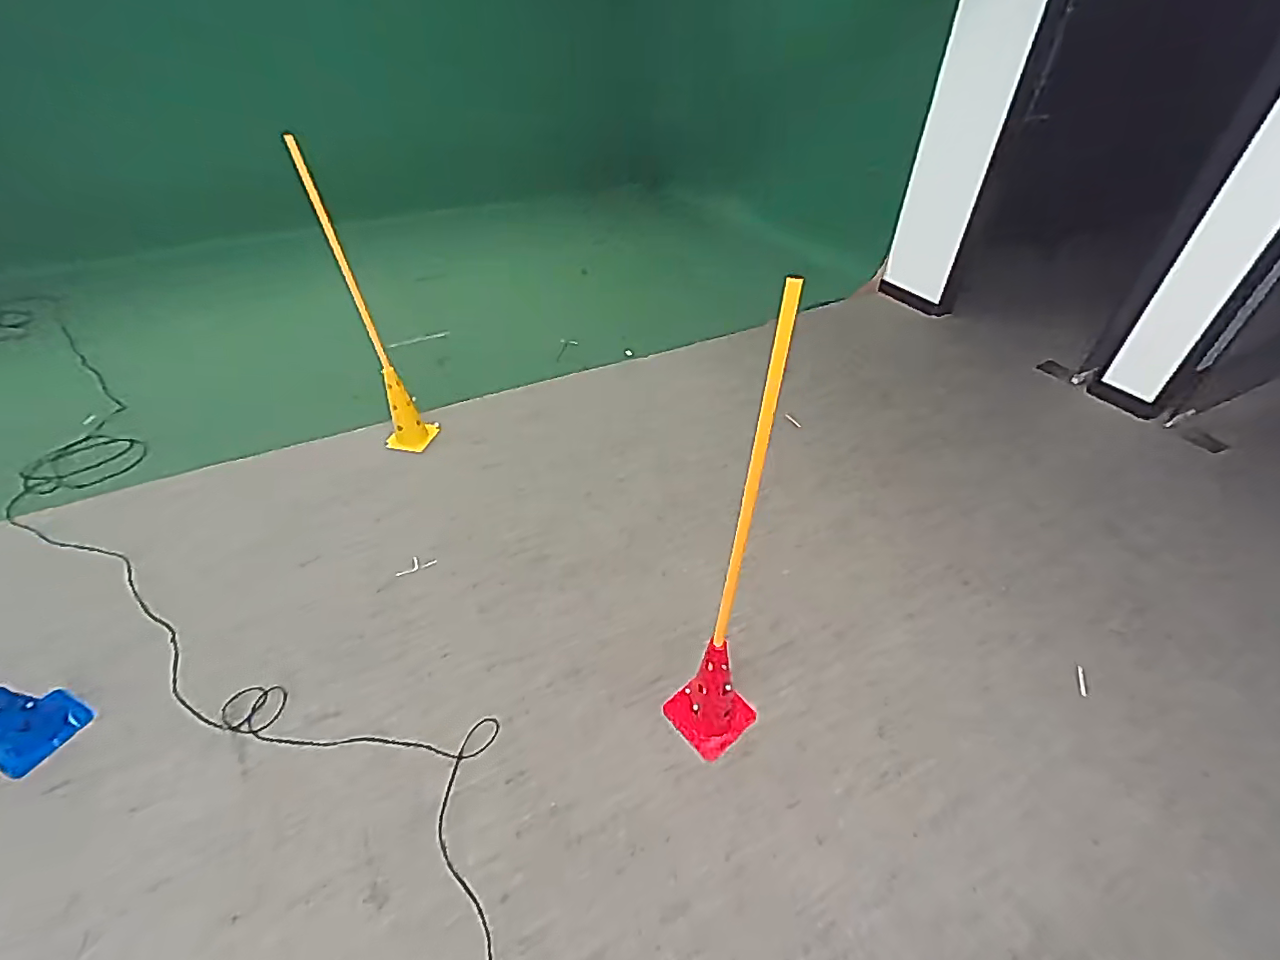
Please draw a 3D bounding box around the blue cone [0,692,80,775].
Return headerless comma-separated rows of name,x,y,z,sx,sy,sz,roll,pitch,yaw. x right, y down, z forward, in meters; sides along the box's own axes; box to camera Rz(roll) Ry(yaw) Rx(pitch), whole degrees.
blue cone,-1.688,0.579,1.379,0.192,0.380,0.193,16,46,17
